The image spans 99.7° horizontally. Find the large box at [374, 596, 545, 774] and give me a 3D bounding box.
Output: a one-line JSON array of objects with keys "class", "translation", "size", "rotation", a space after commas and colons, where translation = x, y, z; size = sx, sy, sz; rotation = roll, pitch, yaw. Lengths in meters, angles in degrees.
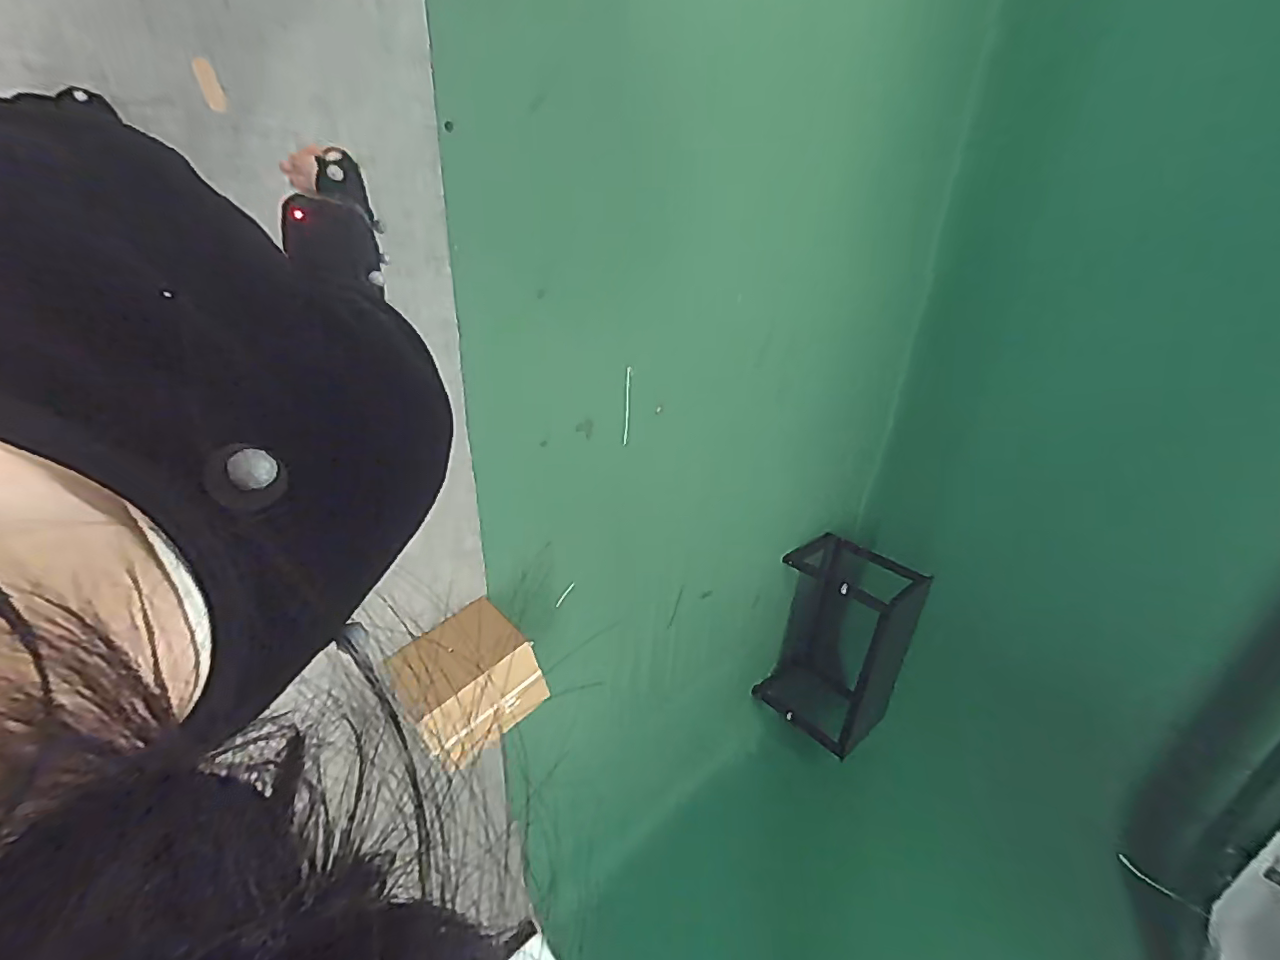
[{"class": "large box", "translation": [-0.605, 0.680, 1.843], "size": [0.408, 0.320, 0.320], "rotation": [-34, 133, -31]}]
